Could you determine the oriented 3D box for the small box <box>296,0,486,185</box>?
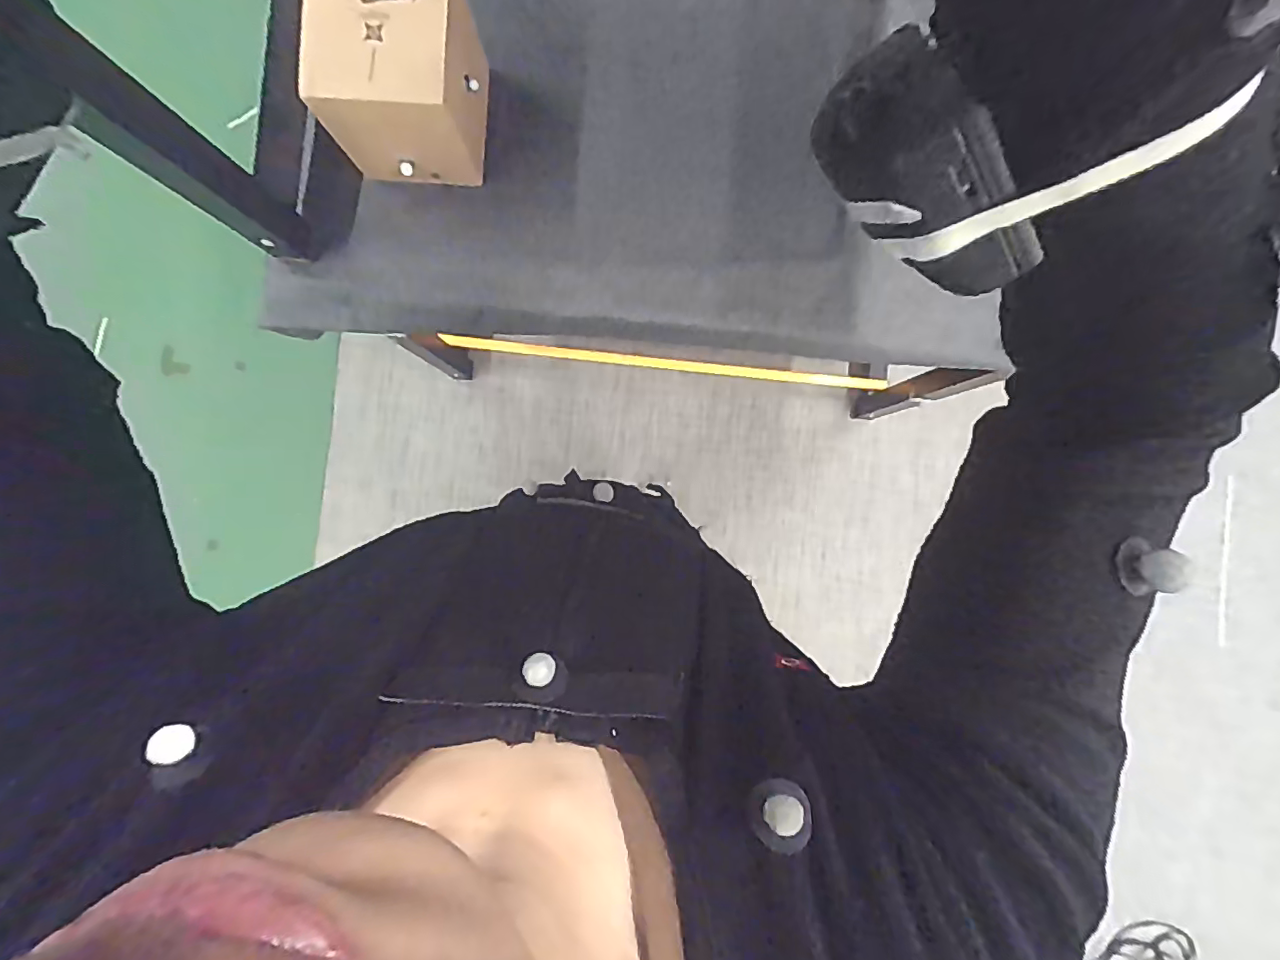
[{"bbox_3d":[-0.302,-0.514,0.690,0.168,0.176,0.179,3,89,-1],"label":"small box"}]
